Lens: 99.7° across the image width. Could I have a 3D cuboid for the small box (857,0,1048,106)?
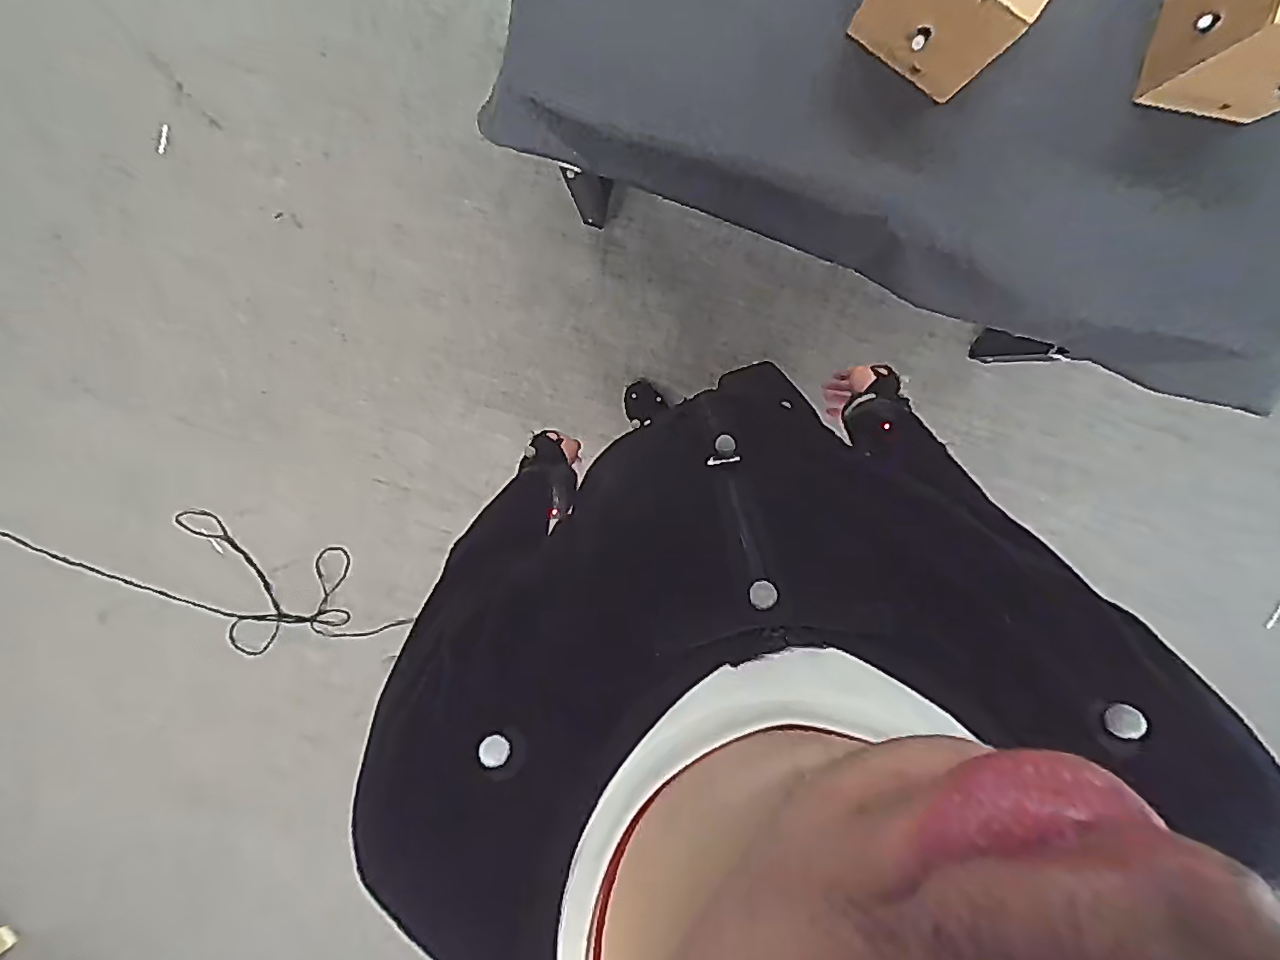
[{"bbox_3d":[0.386,-0.597,0.636,0.168,0.176,0.179,32,99,-6],"label":"small box"}]
